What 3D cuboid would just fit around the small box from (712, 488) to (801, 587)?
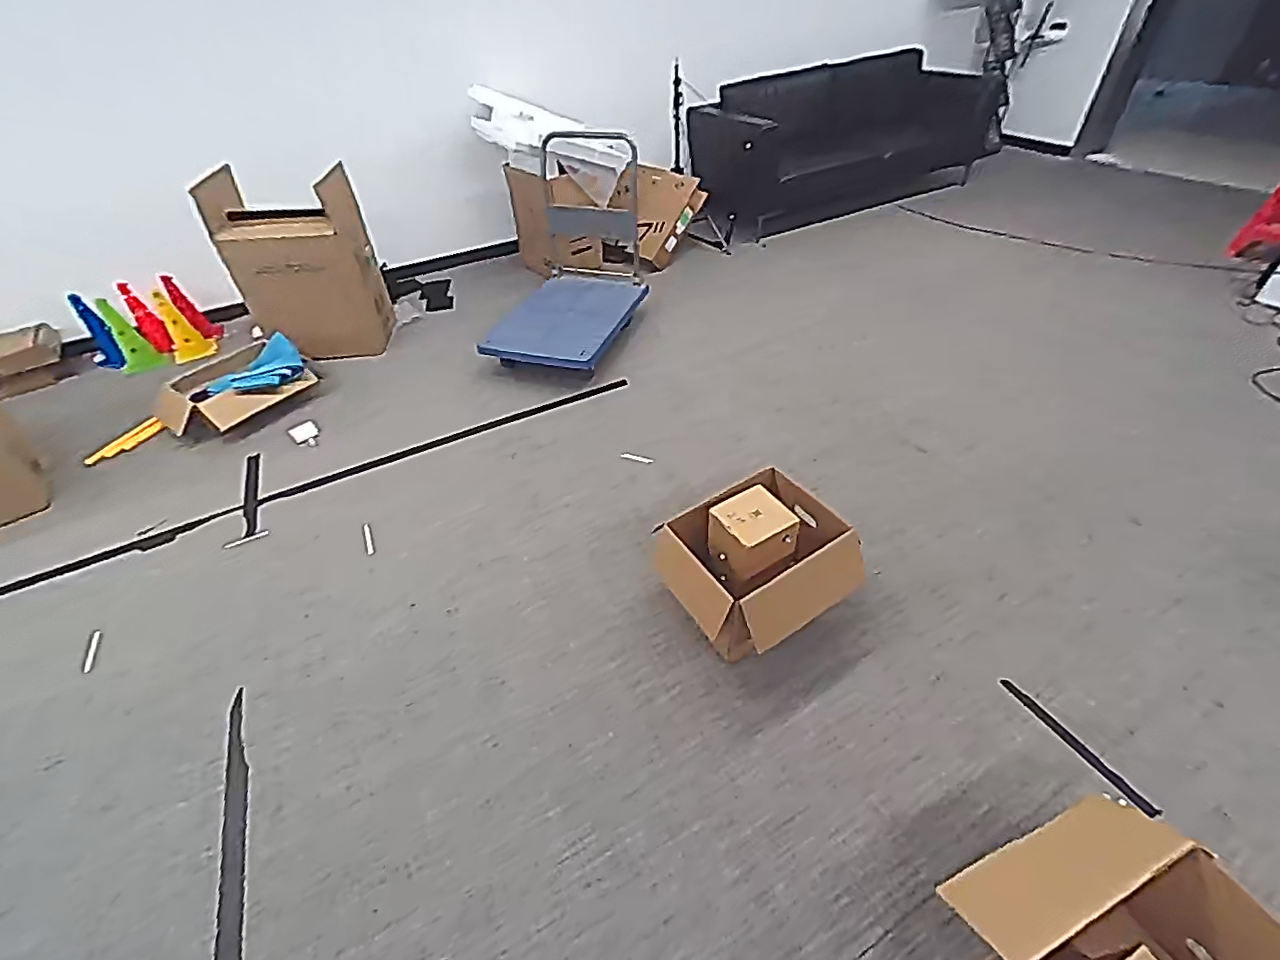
[{"bbox_3d":[0.309,0.158,1.477,0.179,0.176,0.168,-24,46,-19],"label":"small box"}]
